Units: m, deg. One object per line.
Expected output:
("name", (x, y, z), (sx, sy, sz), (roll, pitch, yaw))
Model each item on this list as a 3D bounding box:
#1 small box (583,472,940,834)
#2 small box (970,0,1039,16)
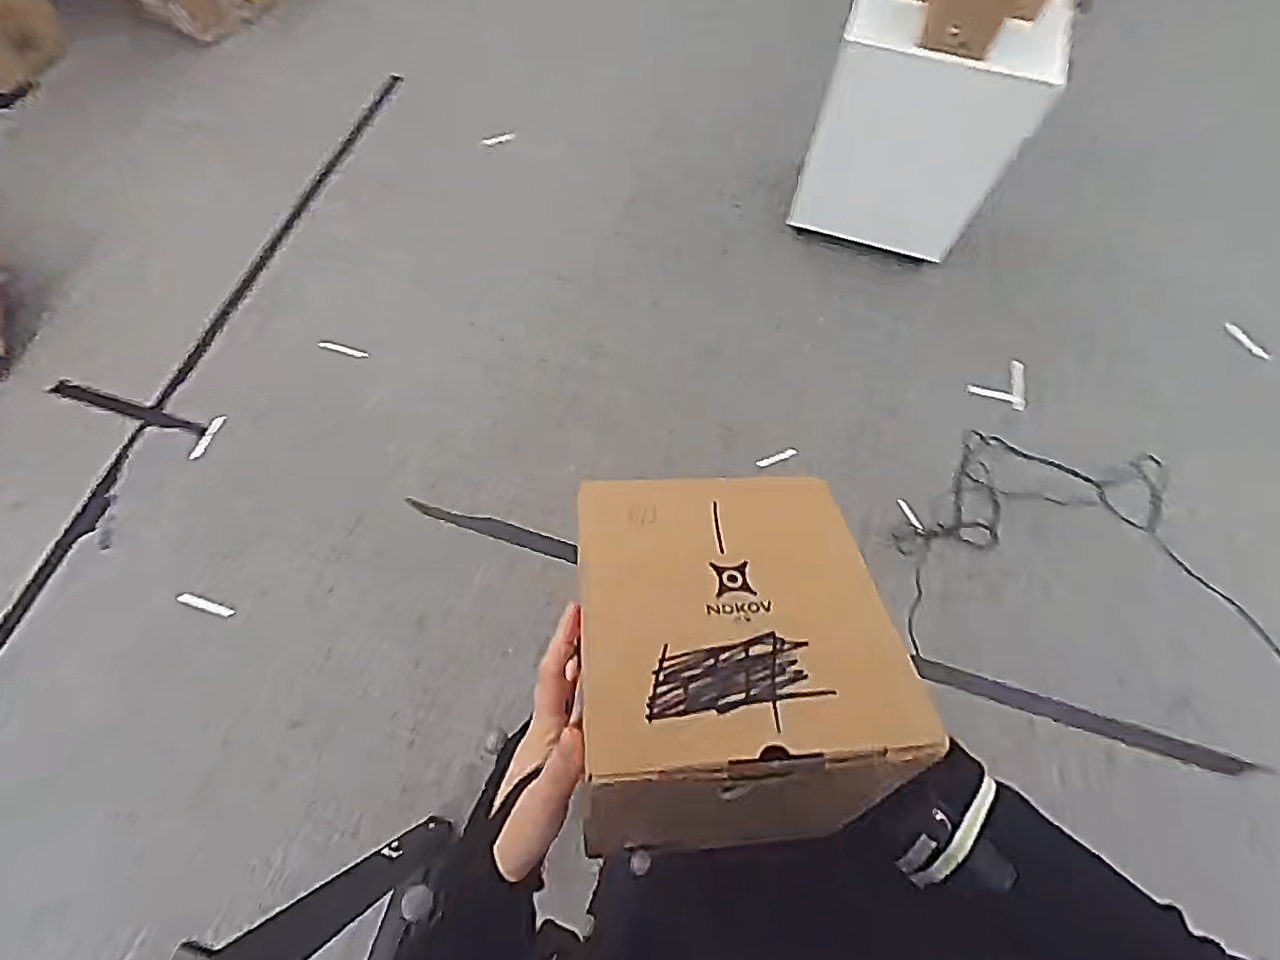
("small box", (0.047, 0.115, 0.355), (0.168, 0.176, 0.179), (-1, 45, -7))
("small box", (0.916, -1.270, 1.300), (0.168, 0.176, 0.179), (17, 70, 7))
